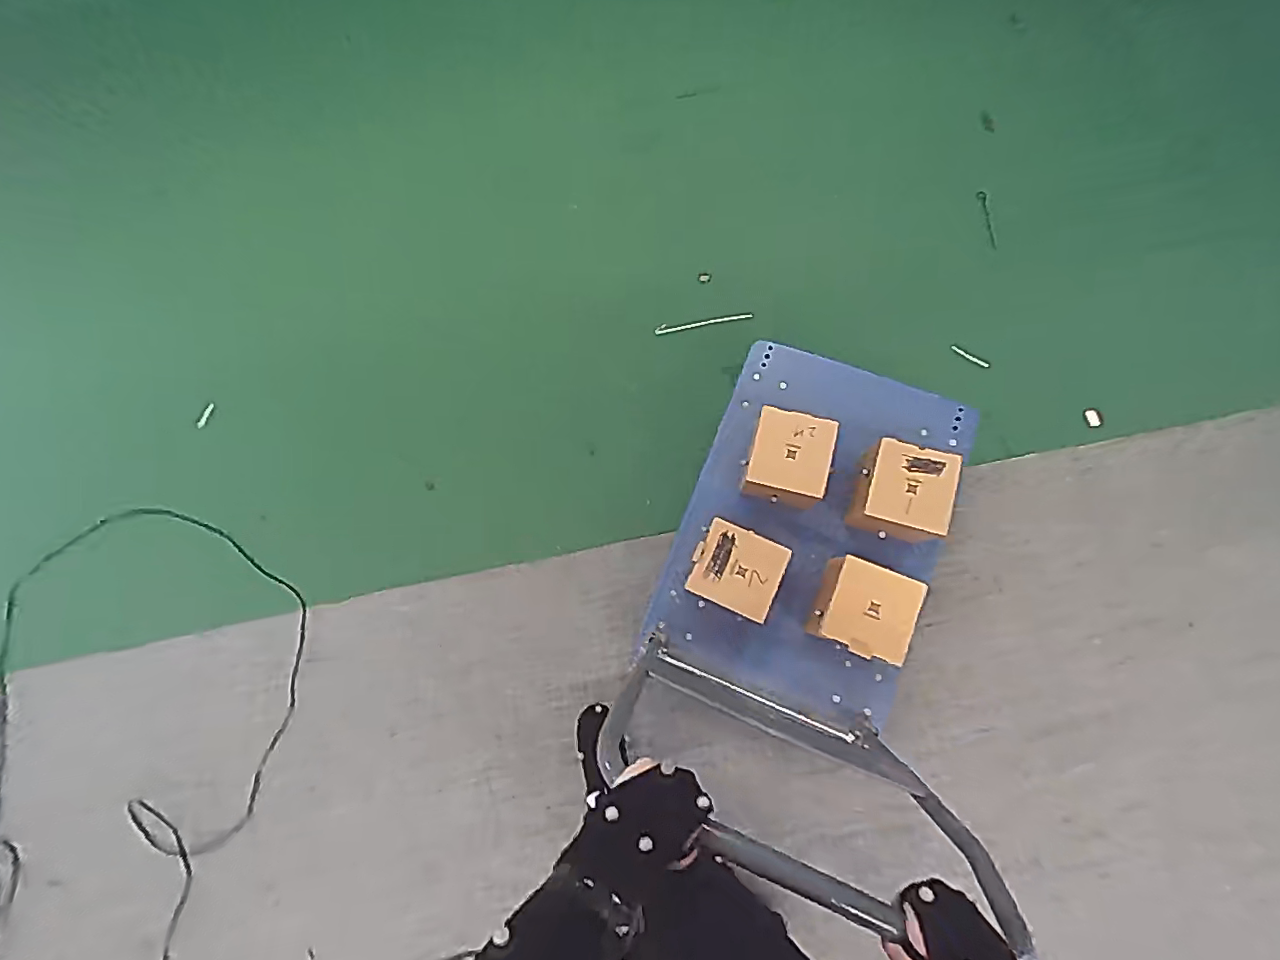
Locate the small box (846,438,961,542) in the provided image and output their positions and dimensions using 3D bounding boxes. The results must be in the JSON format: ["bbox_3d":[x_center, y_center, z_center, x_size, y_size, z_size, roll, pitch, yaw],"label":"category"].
[{"bbox_3d":[0.575,0.029,1.199,0.168,0.176,0.179,16,81,9],"label":"small box"}]

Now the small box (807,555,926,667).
[{"bbox_3d":[0.474,0.275,1.159,0.168,0.176,0.179,22,82,9],"label":"small box"}]

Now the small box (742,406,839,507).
[{"bbox_3d":[0.335,-0.045,1.236,0.168,0.176,0.179,15,80,7],"label":"small box"}]
